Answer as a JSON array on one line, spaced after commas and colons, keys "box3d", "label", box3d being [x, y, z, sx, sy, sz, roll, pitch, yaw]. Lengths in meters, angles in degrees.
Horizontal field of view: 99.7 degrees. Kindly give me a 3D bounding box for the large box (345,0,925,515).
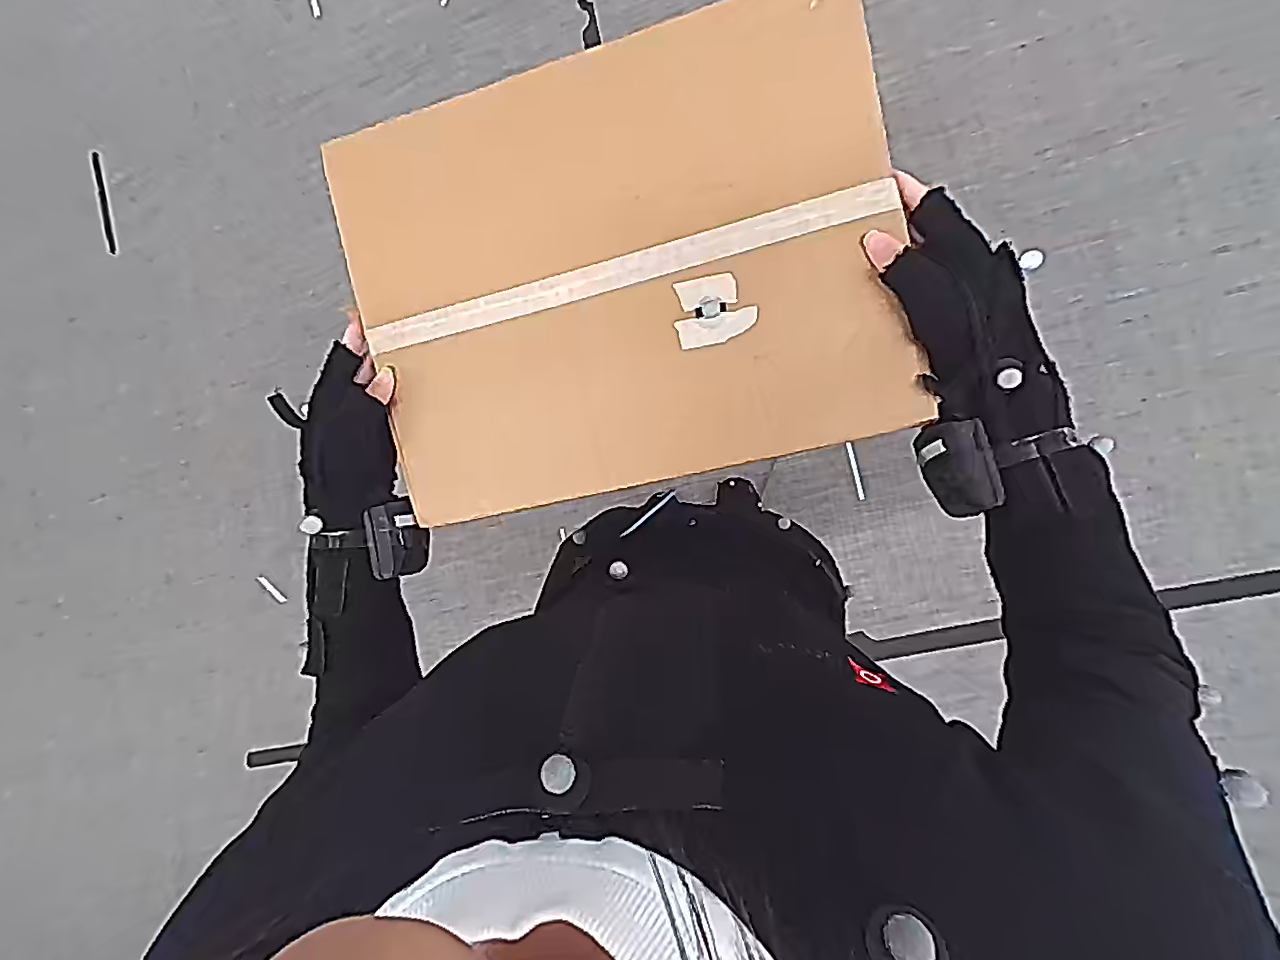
[{"box3d": [0.003, -0.174, 0.560, 0.408, 0.320, 0.320, -12, 95, 9], "label": "large box"}]
